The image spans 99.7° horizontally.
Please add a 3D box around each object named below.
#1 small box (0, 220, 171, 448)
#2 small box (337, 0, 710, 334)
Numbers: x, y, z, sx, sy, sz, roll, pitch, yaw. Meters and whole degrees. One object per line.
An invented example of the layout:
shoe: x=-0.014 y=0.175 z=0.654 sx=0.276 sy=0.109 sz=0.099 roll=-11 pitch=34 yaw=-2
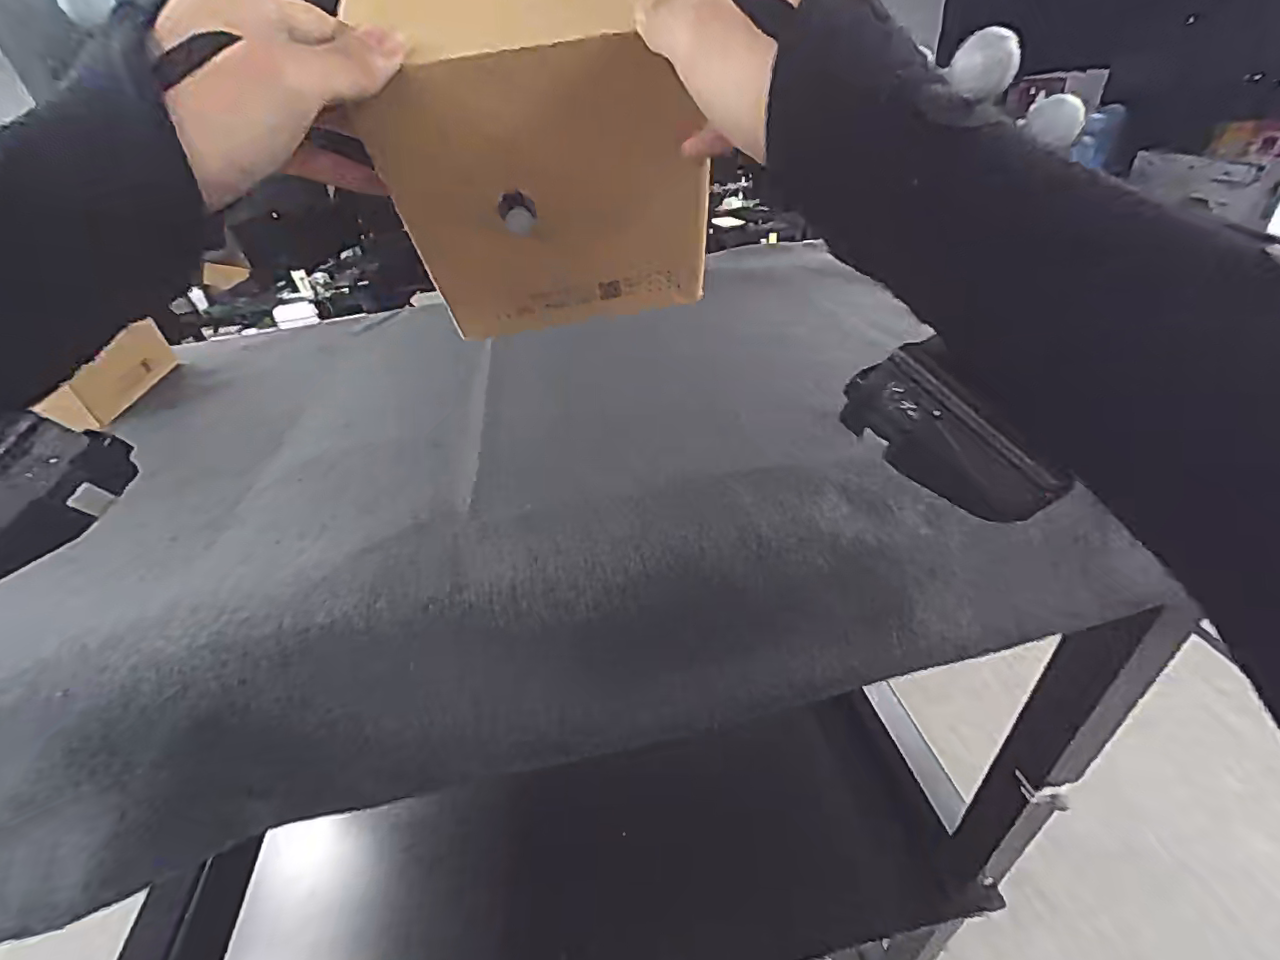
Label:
small box: x=-0.623 y=-0.137 z=0.526 sx=0.179 sy=0.176 sz=0.168 roll=-11 pitch=37 yaw=-7
small box: x=-0.055 y=-0.210 z=0.336 sx=0.168 sy=0.176 sz=0.179 roll=-10 pitch=62 yaw=-1
